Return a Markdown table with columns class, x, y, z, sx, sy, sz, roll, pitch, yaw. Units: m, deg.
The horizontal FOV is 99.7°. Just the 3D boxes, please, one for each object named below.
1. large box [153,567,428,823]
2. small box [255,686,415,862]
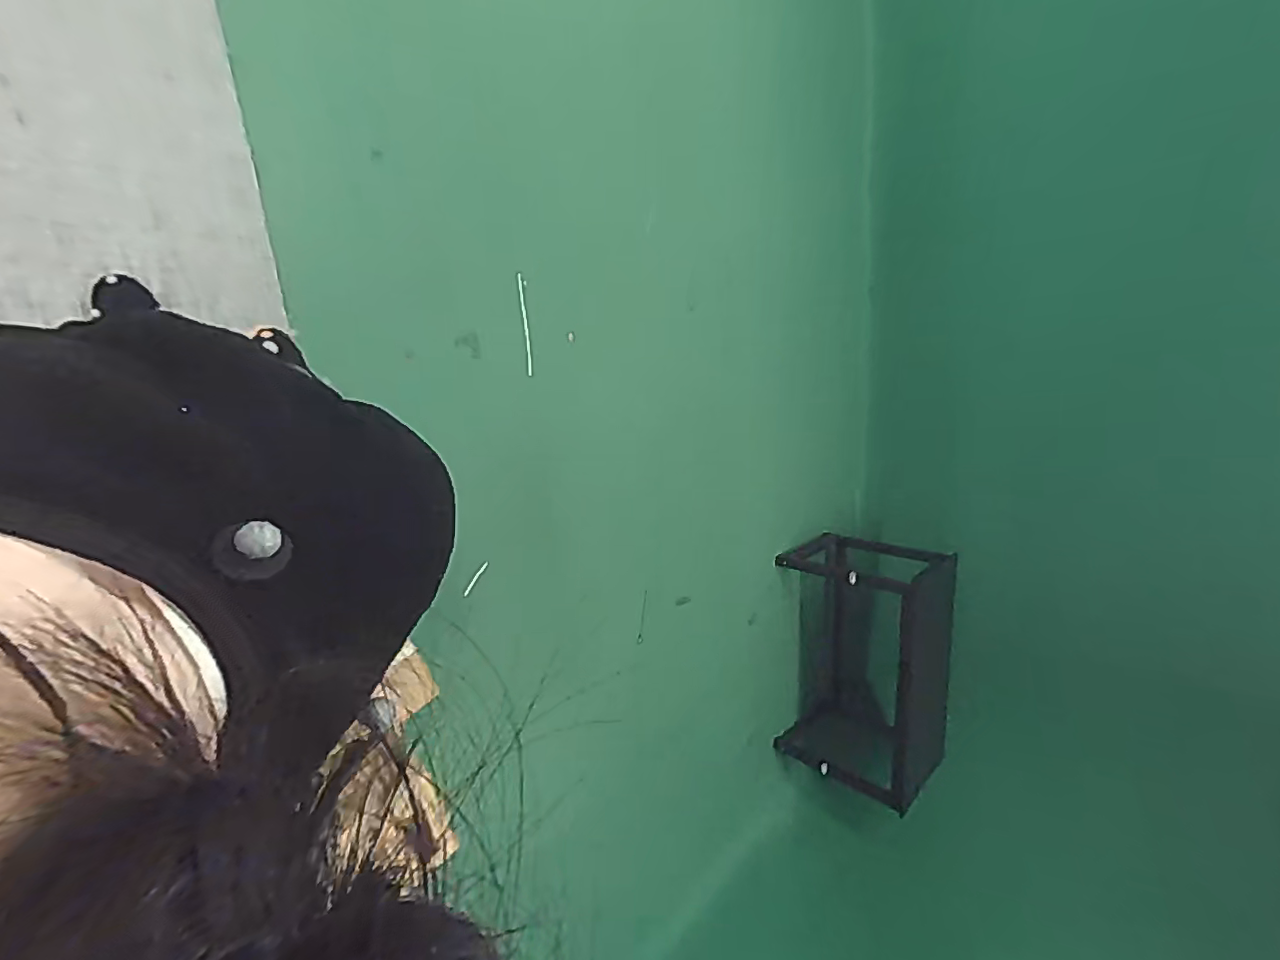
| class | x | y | z | sx | sy | sz | roll | pitch | yaw |
| --- | --- | --- | --- | --- | --- | --- | --- | --- | --- |
| large box | -0.793 | 0.461 | 1.255 | 0.408 | 0.320 | 0.320 | -35 | 121 | -38 |
| small box | -0.530 | 0.495 | 0.943 | 0.179 | 0.176 | 0.168 | -26 | 114 | -39 |
